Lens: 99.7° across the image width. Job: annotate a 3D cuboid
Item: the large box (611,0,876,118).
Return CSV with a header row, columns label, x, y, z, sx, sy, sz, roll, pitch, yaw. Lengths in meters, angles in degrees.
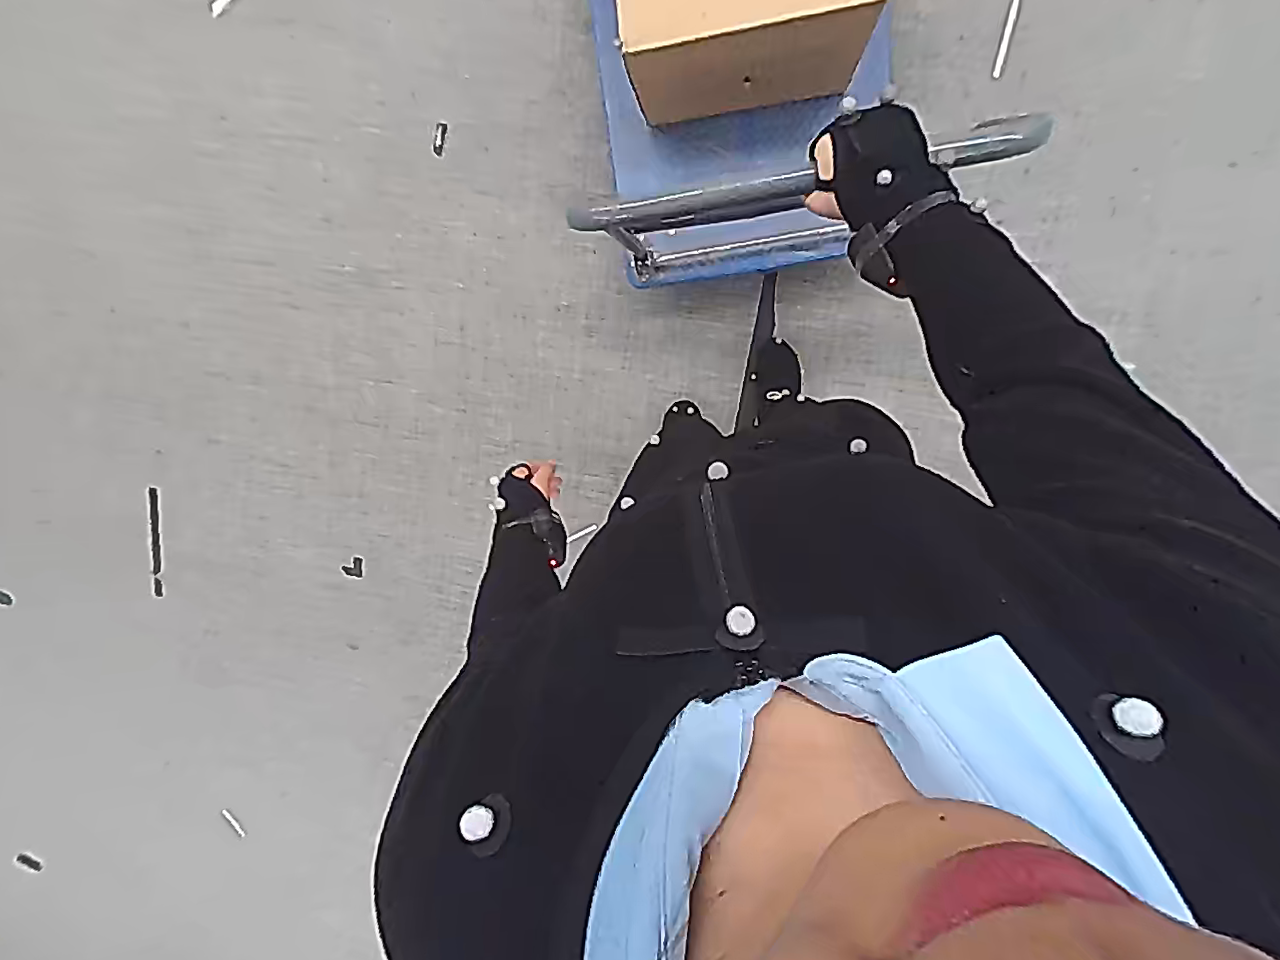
label,x,y,z,sx,sy,sz,roll,pitch,yaw
large box,0.164,-0.882,0.922,0.408,0.320,0.320,-5,102,11
